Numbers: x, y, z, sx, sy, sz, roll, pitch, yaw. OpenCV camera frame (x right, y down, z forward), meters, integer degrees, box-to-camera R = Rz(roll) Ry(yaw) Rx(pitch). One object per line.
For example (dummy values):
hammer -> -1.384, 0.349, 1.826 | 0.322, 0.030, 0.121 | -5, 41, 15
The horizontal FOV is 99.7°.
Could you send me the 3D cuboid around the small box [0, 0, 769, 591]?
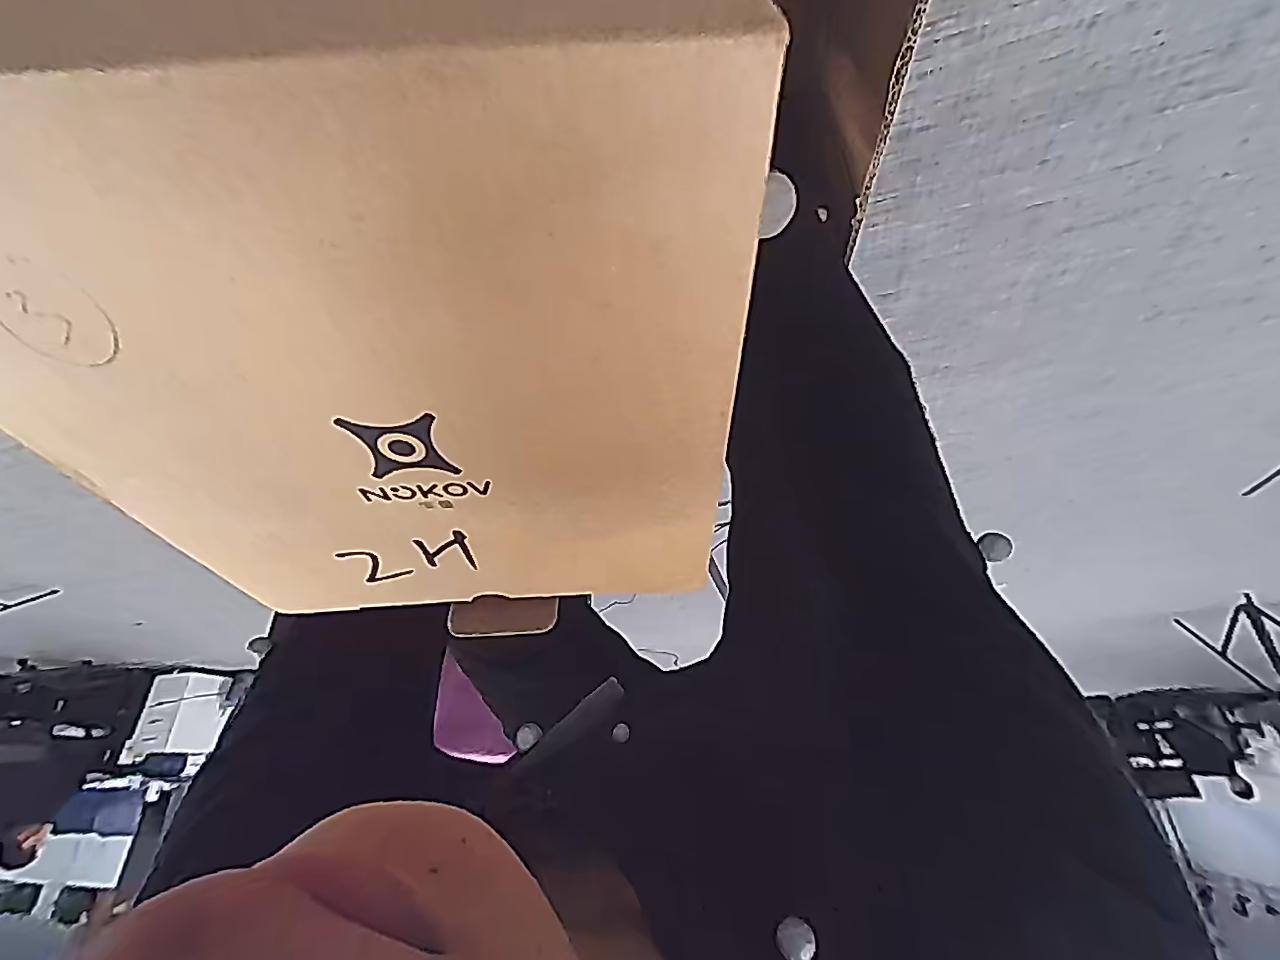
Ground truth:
small box -> -0.066, -0.077, 0.185 | 0.168, 0.176, 0.179 | -2, 146, -1
